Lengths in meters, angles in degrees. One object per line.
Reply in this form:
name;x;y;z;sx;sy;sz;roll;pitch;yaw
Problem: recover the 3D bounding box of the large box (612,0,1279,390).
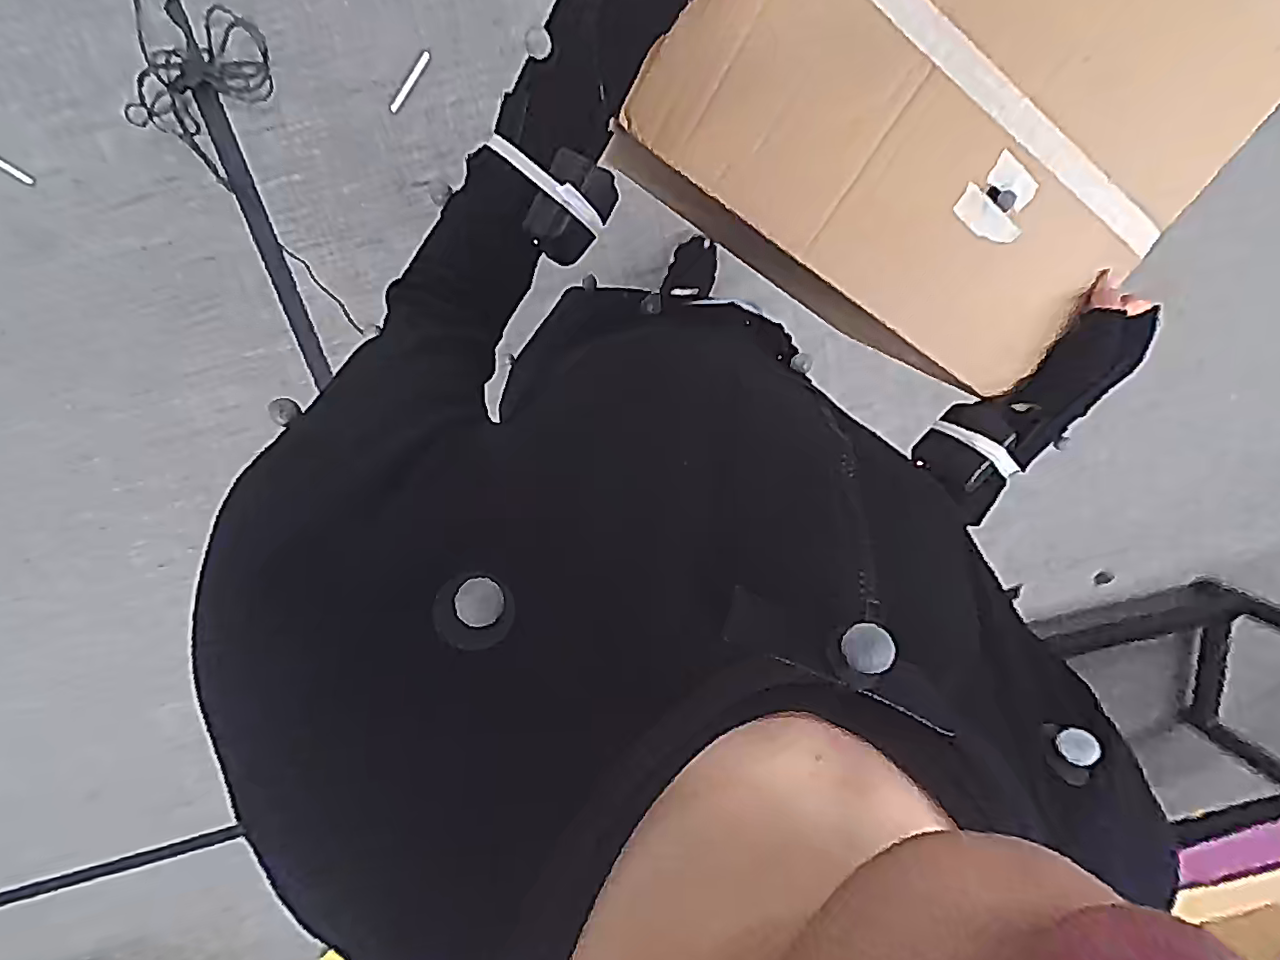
large box;0.223;-0.350;0.519;0.408;0.320;0.320;28;112;-18
